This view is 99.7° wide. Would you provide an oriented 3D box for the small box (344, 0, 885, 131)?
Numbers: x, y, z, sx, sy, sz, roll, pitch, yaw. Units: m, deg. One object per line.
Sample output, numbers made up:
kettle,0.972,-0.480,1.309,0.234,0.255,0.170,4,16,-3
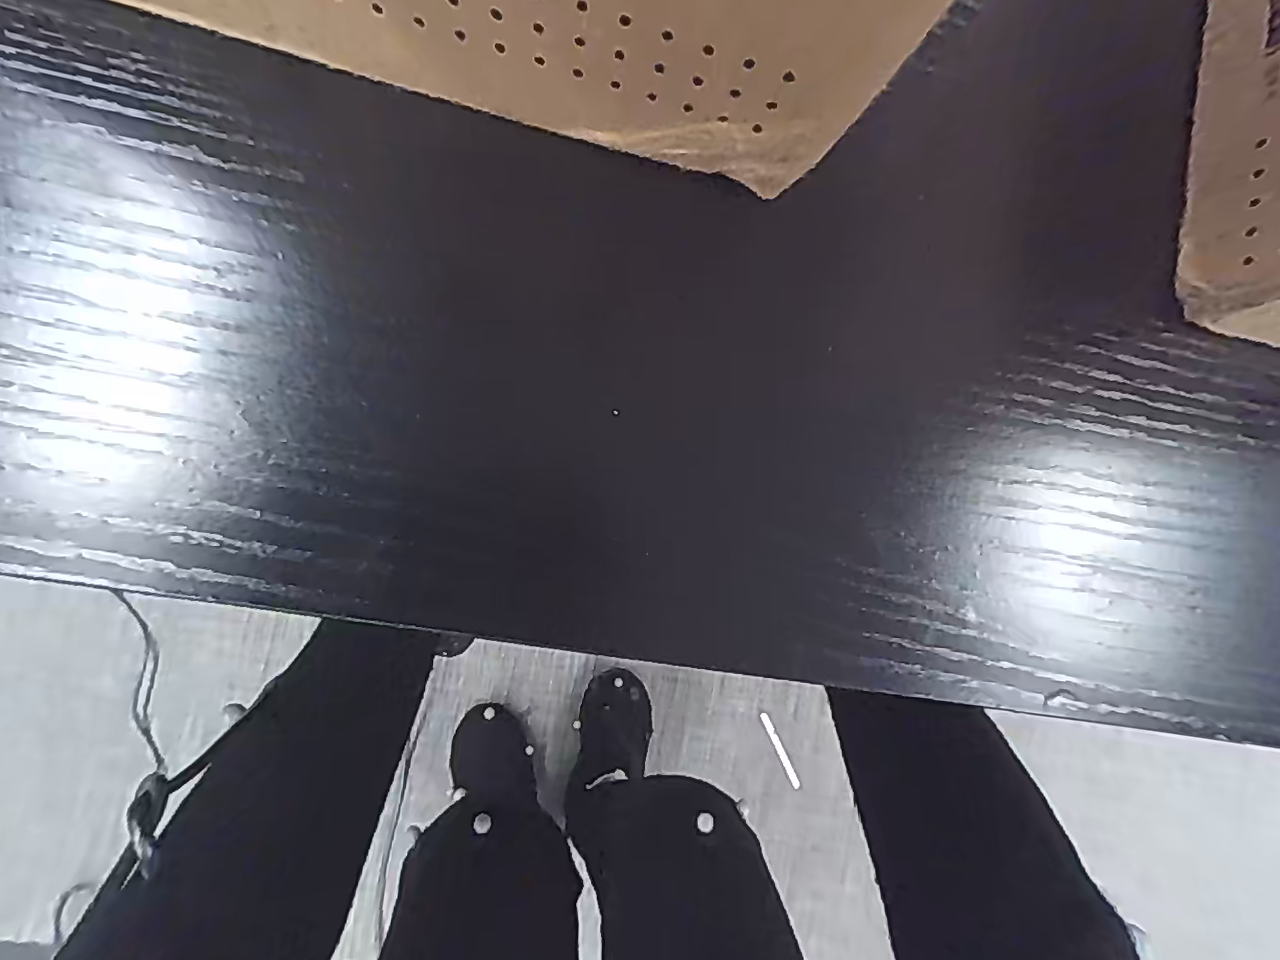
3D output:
small box,-0.018,-0.159,0.023,0.179,0.176,0.168,11,89,-10
